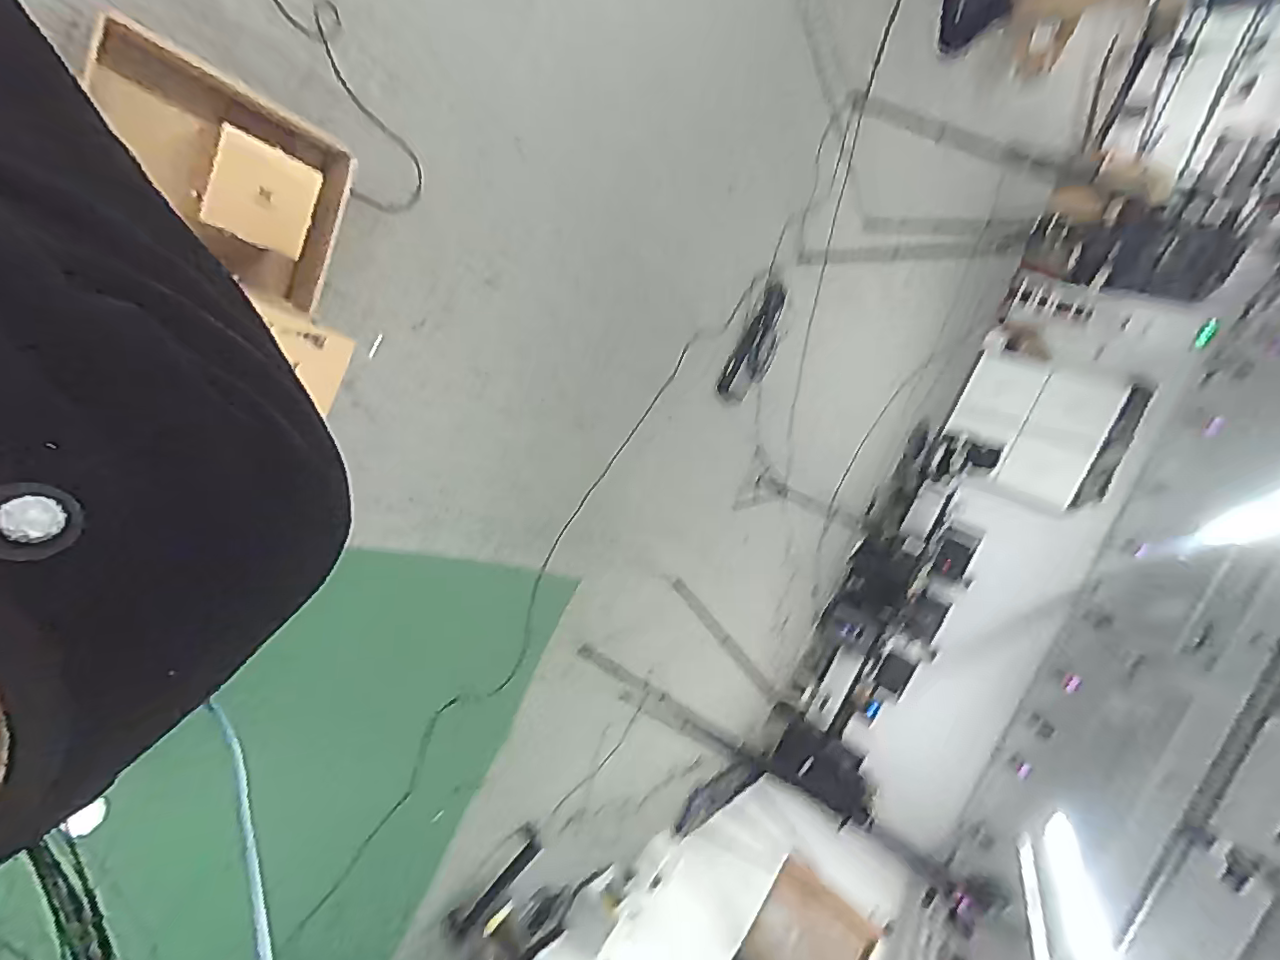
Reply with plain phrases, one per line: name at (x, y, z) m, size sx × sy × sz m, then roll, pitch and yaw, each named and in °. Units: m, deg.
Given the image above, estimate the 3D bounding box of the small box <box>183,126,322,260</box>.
small box at (-0.771, -0.570, 1.072) m, size 0.168 × 0.176 × 0.179 m, roll 11°, pitch 107°, yaw -54°

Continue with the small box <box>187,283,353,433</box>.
small box at (-0.632, -0.207, 0.920) m, size 0.168 × 0.176 × 0.179 m, roll 20°, pitch 97°, yaw -56°

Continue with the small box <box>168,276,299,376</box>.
small box at (-0.746, -0.267, 1.024) m, size 0.179 × 0.176 × 0.168 m, roll 13°, pitch 101°, yaw -54°
